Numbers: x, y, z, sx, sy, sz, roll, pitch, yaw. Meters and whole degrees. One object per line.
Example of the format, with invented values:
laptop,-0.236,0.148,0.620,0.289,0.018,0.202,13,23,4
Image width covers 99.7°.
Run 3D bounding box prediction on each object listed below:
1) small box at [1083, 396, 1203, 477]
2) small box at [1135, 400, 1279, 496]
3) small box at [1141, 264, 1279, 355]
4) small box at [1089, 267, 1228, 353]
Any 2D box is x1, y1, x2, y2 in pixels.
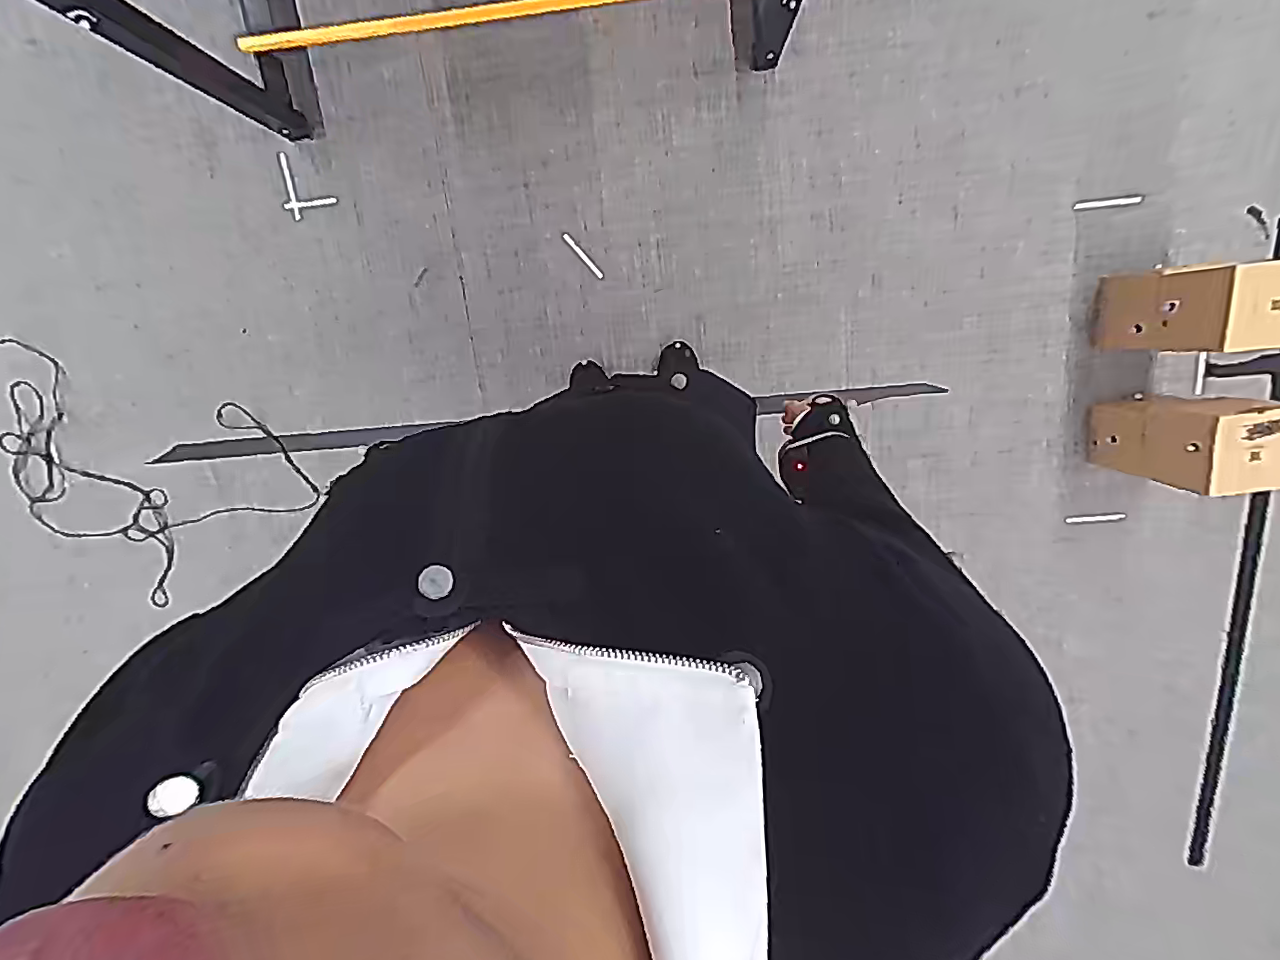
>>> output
small box,1.260,-0.113,1.356,0.179,0.176,0.168,-8,104,5
small box,1.249,-0.078,1.194,0.168,0.176,0.179,-8,104,4
small box,1.215,-0.353,1.127,0.179,0.176,0.168,-5,103,5
small box,1.216,-0.399,1.283,0.168,0.176,0.179,-4,104,3
